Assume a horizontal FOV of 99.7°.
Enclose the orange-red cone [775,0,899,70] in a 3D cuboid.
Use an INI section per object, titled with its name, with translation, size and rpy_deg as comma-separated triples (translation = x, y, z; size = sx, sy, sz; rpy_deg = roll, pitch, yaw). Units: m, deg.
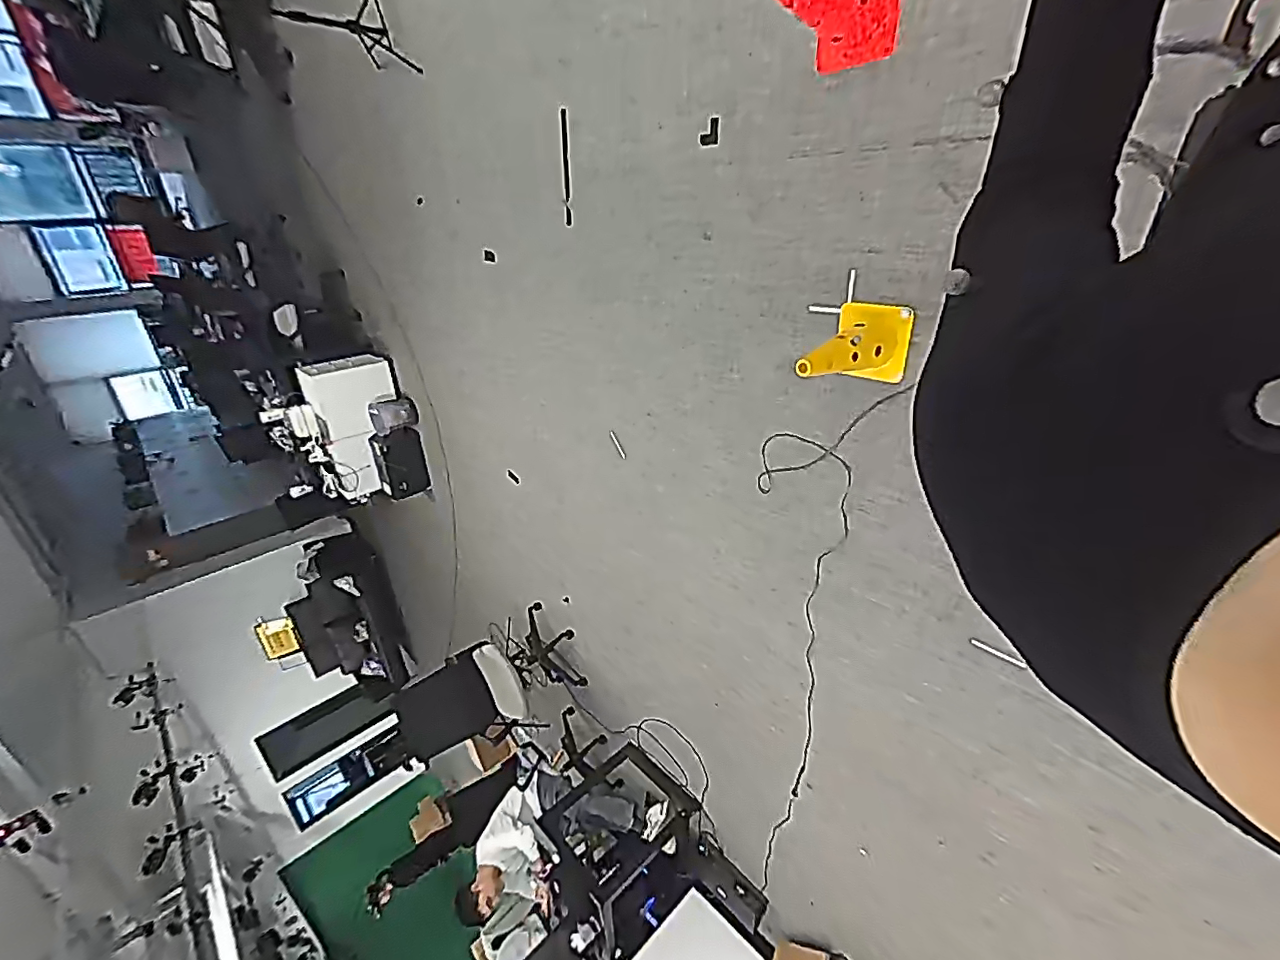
[orange-red cone]
translation = 0.378, -1.025, 1.148
size = 0.198, 0.360, 0.199
rpy_deg = 23, 127, 43
